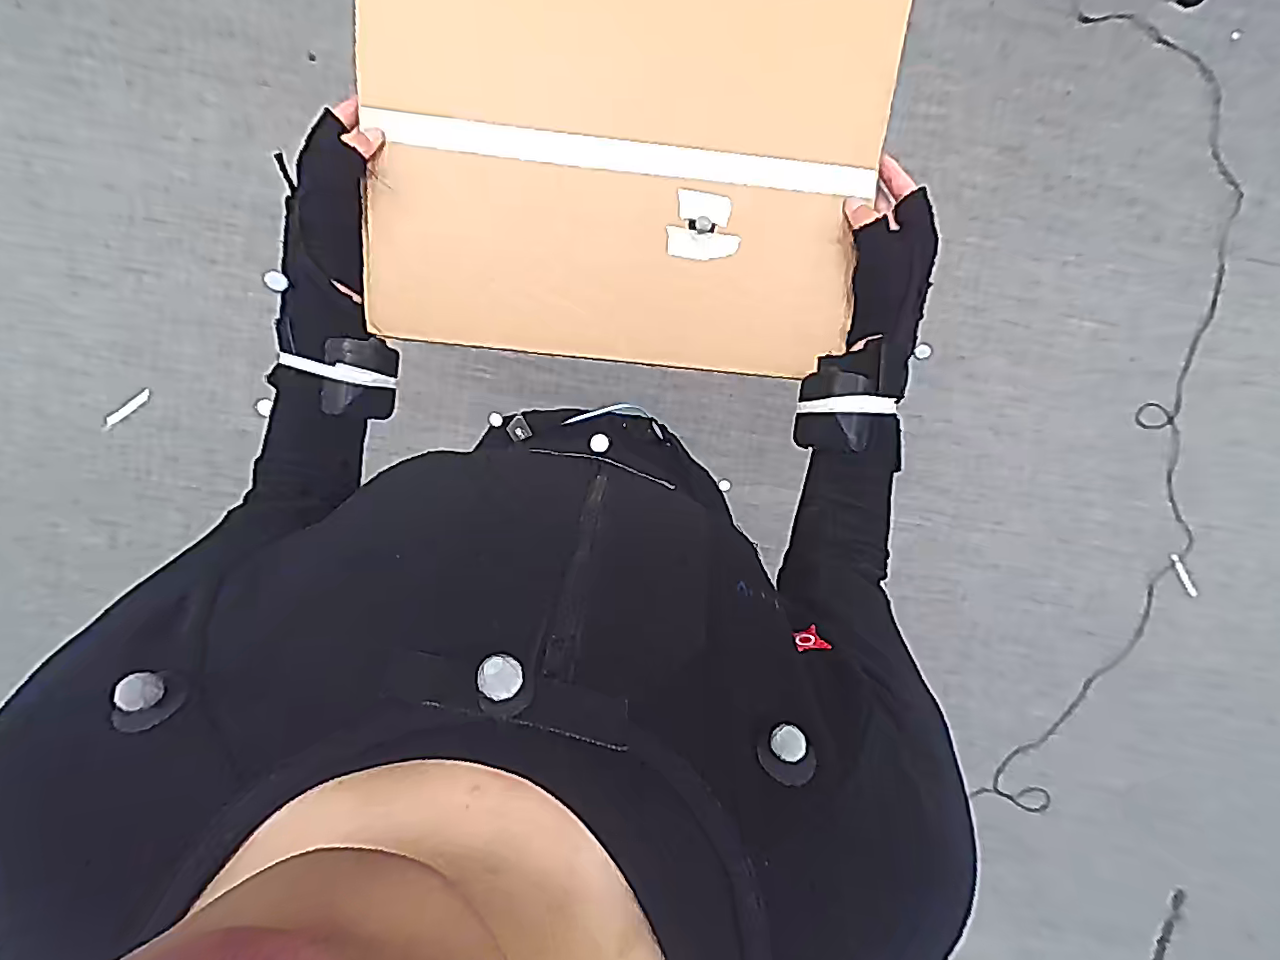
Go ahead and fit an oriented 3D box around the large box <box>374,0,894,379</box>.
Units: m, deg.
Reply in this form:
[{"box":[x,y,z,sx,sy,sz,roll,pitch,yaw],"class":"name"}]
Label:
[{"box":[-0.020,-0.289,0.584,0.408,0.320,0.320,5,105,-5],"class":"large box"}]
